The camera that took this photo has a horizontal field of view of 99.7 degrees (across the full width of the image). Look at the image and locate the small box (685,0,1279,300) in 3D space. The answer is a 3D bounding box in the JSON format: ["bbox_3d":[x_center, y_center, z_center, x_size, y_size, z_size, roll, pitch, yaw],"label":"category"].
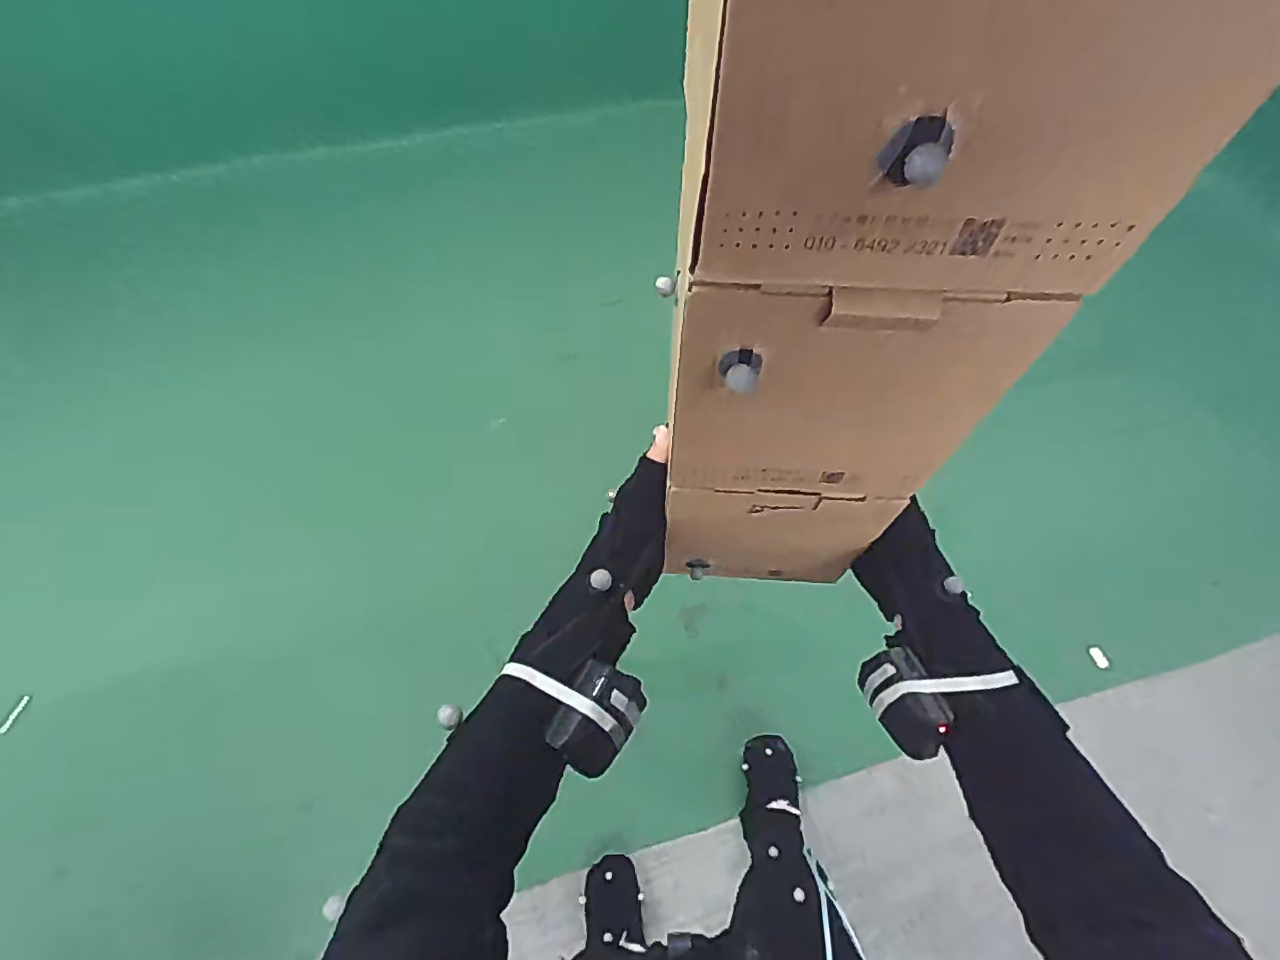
[{"bbox_3d":[0.106,-0.197,0.209,0.168,0.176,0.179,1,59,0],"label":"small box"}]

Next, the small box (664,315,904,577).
[{"bbox_3d":[0.109,-0.023,0.487,0.168,0.176,0.179,3,59,2],"label":"small box"}]
